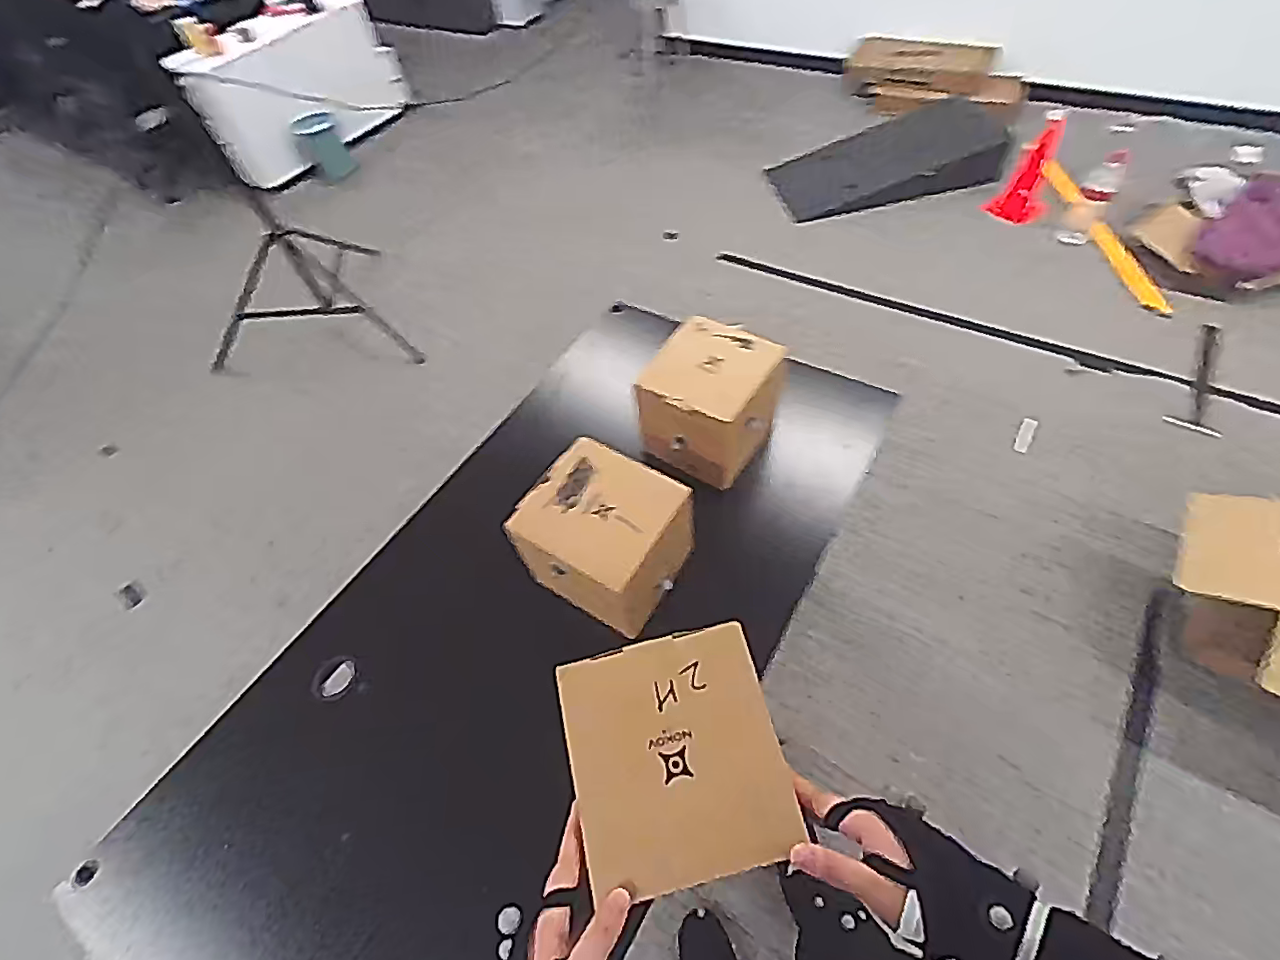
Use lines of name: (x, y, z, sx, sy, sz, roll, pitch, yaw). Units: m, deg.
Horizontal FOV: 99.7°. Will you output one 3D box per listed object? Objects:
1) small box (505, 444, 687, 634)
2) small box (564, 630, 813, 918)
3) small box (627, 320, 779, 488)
small box: (-0.049, 0.086, 0.744, 0.179, 0.176, 0.168, 26, 63, 21)
small box: (0.037, 0.256, 0.497, 0.168, 0.176, 0.179, -13, 62, -3)
small box: (0.104, -0.117, 0.865, 0.168, 0.176, 0.179, 28, 64, 23)
